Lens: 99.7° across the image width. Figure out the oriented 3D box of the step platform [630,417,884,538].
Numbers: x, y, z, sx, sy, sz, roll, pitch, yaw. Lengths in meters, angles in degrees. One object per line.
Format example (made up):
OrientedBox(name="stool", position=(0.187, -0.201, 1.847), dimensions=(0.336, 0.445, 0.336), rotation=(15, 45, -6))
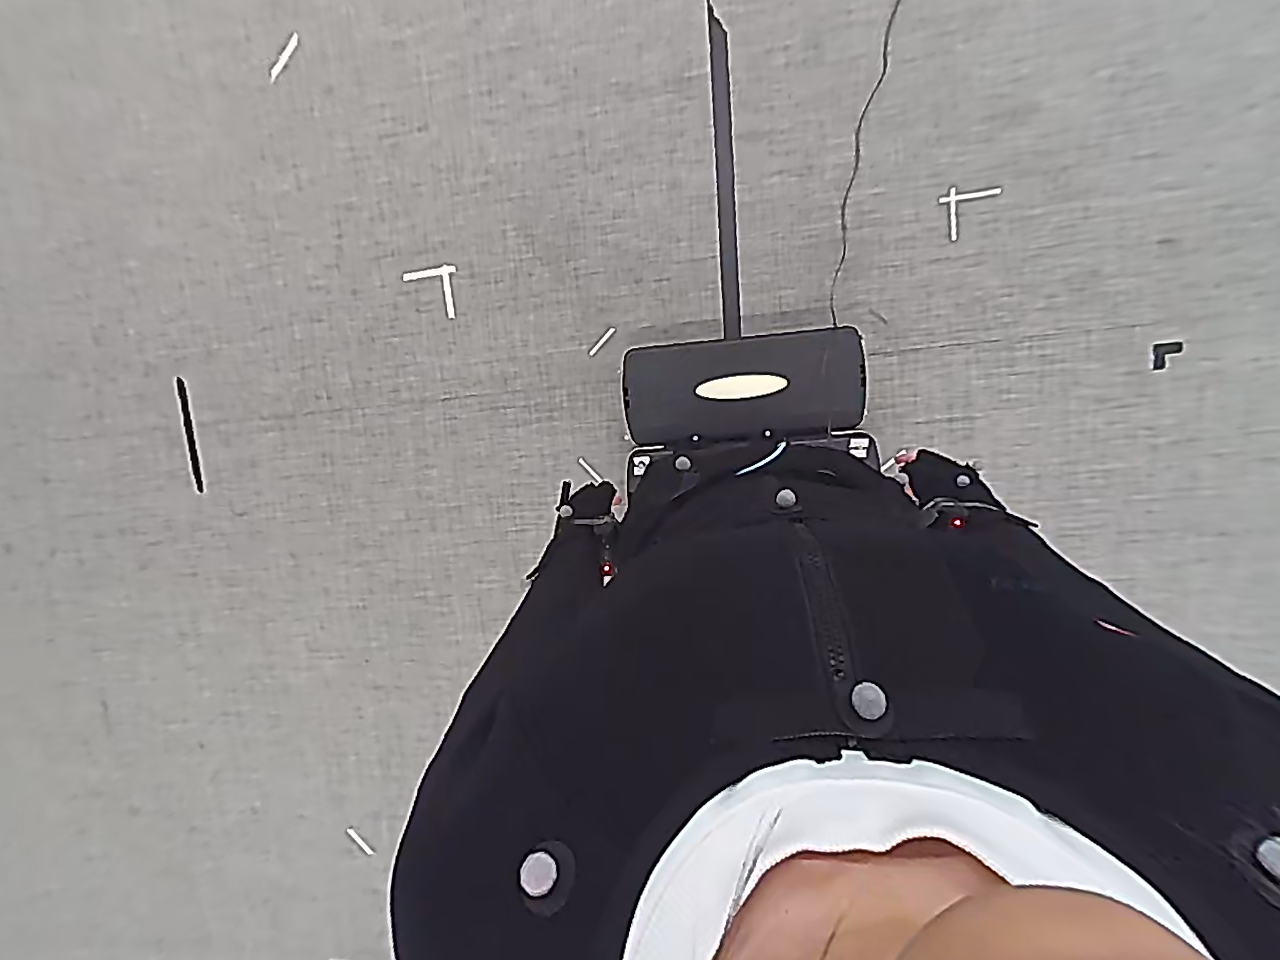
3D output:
OrientedBox(name="step platform", position=(0.312, -0.004, 1.520), dimensions=(0.684, 0.204, 0.286), rotation=(-5, 95, 9))
